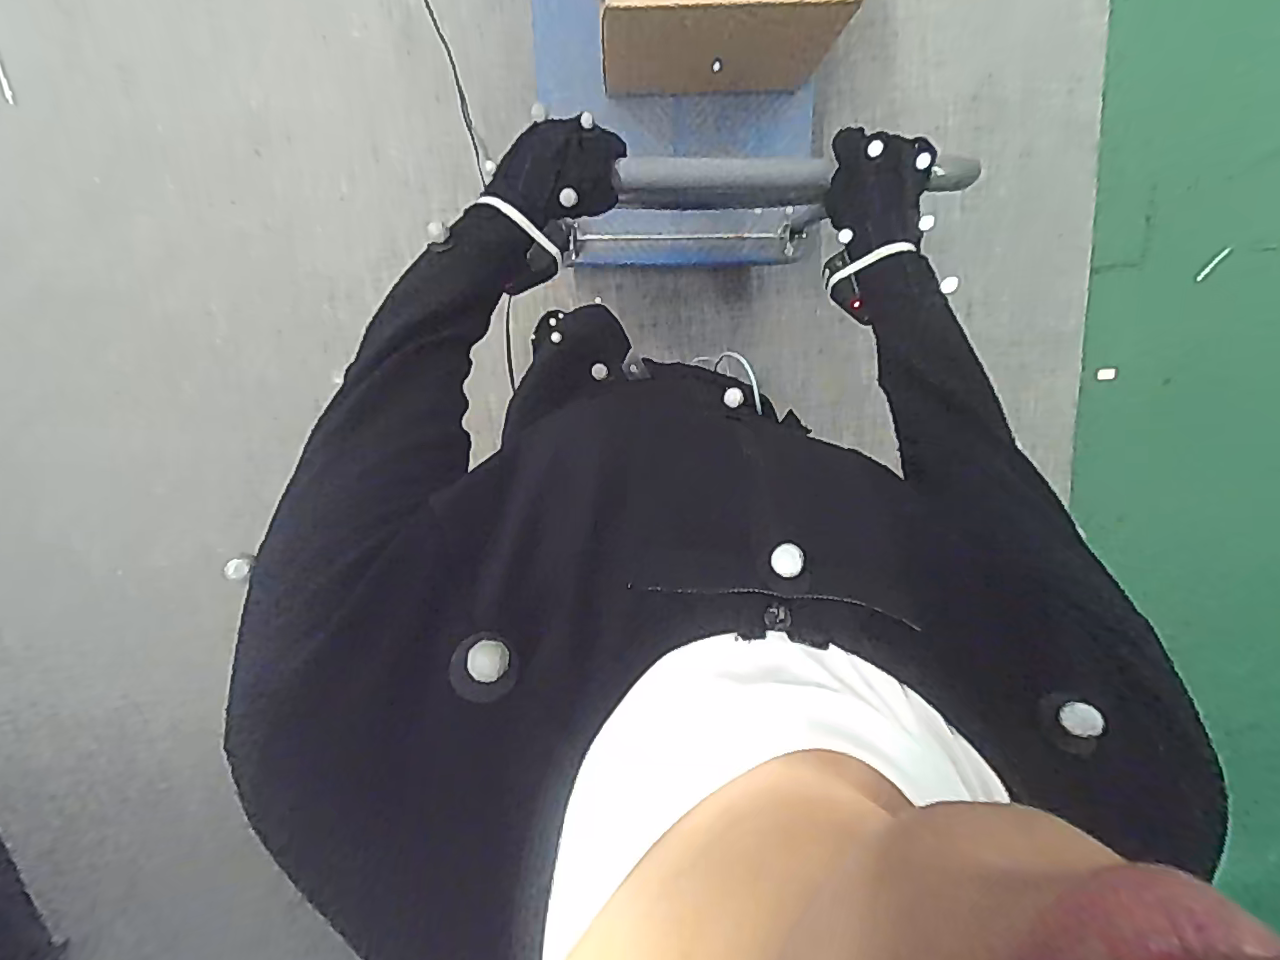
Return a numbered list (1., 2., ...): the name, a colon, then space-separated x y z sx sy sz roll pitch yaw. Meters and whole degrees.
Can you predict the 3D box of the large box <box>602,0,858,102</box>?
1. large box: 0.132 -0.907 0.948 0.408 0.320 0.320 -3 103 -1
